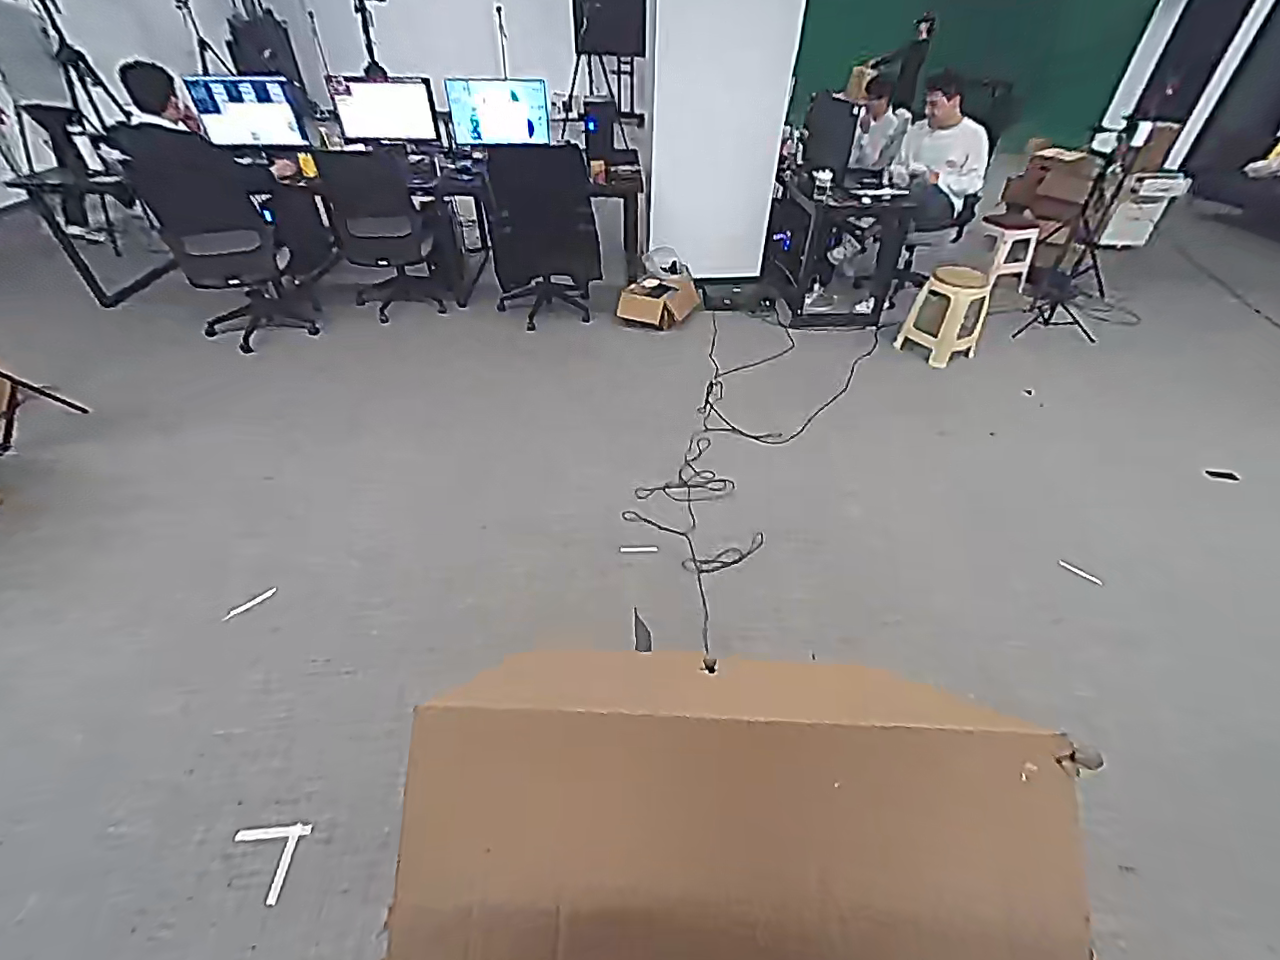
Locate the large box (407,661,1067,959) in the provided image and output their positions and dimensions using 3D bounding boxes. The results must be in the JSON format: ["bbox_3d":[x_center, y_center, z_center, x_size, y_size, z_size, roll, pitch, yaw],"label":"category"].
[{"bbox_3d":[0.056,0.336,0.468,0.408,0.320,0.320,1,80,2],"label":"large box"}]
